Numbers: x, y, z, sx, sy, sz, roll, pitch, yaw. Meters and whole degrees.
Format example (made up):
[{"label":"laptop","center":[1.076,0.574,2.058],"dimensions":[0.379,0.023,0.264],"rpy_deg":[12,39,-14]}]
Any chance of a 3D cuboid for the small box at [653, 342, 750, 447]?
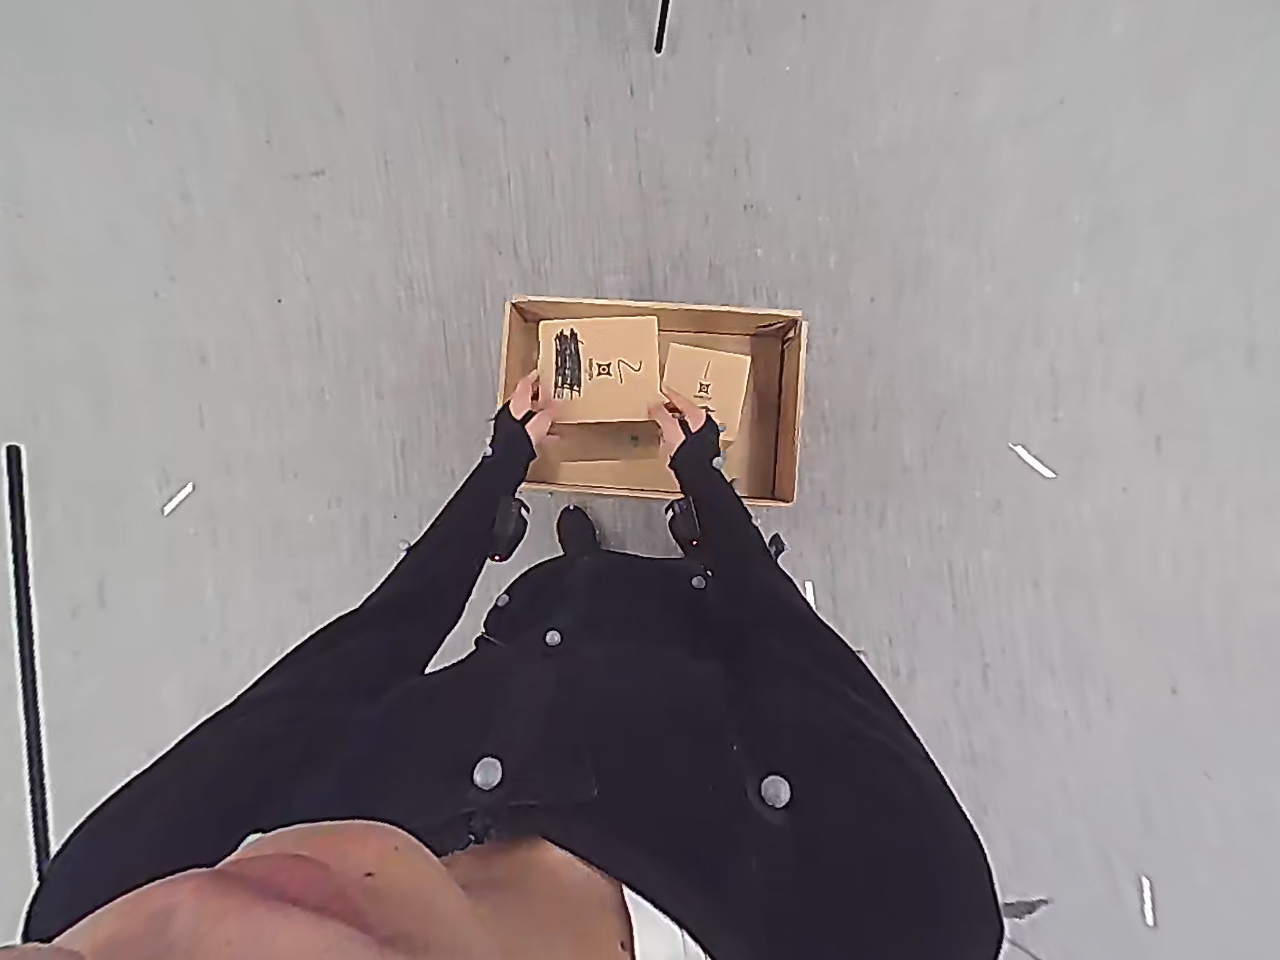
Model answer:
[{"label":"small box","center":[0.125,-0.171,1.141],"dimensions":[0.168,0.176,0.179],"rpy_deg":[11,89,2]}]
